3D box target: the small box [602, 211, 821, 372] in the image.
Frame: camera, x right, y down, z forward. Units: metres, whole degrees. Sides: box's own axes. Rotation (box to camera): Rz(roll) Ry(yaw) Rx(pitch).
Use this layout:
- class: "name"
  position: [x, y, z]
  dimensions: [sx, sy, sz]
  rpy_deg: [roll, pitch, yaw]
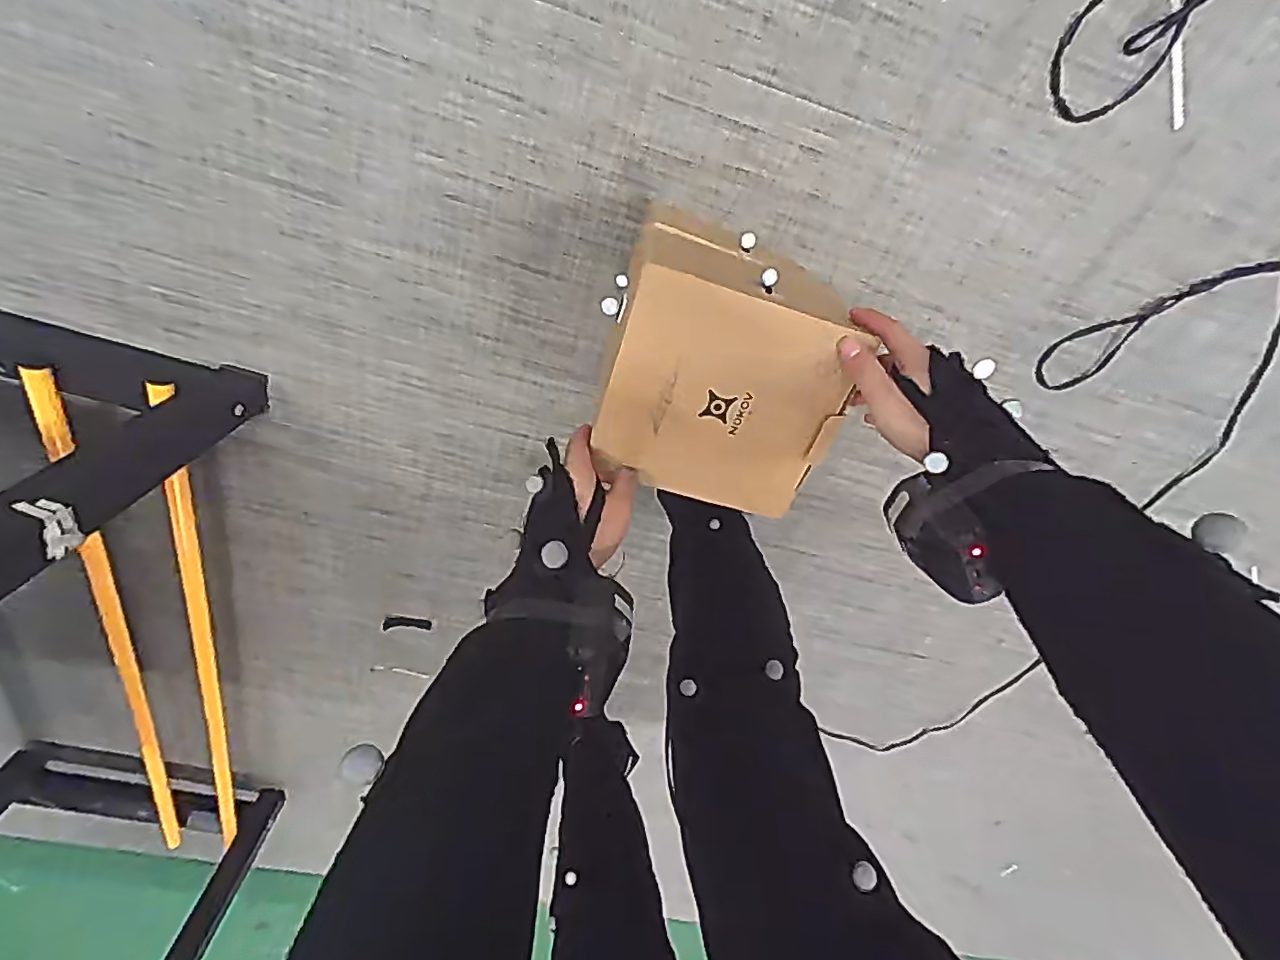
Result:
- class: "small box"
  position: [0.066, -0.182, 0.606]
  dimensions: [0.179, 0.176, 0.168]
  rpy_deg: [17, 122, -11]

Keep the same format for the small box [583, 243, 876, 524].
- class: "small box"
  position: [0.061, -0.091, 0.471]
  dimensions: [0.179, 0.176, 0.168]
  rpy_deg: [15, 120, -8]
